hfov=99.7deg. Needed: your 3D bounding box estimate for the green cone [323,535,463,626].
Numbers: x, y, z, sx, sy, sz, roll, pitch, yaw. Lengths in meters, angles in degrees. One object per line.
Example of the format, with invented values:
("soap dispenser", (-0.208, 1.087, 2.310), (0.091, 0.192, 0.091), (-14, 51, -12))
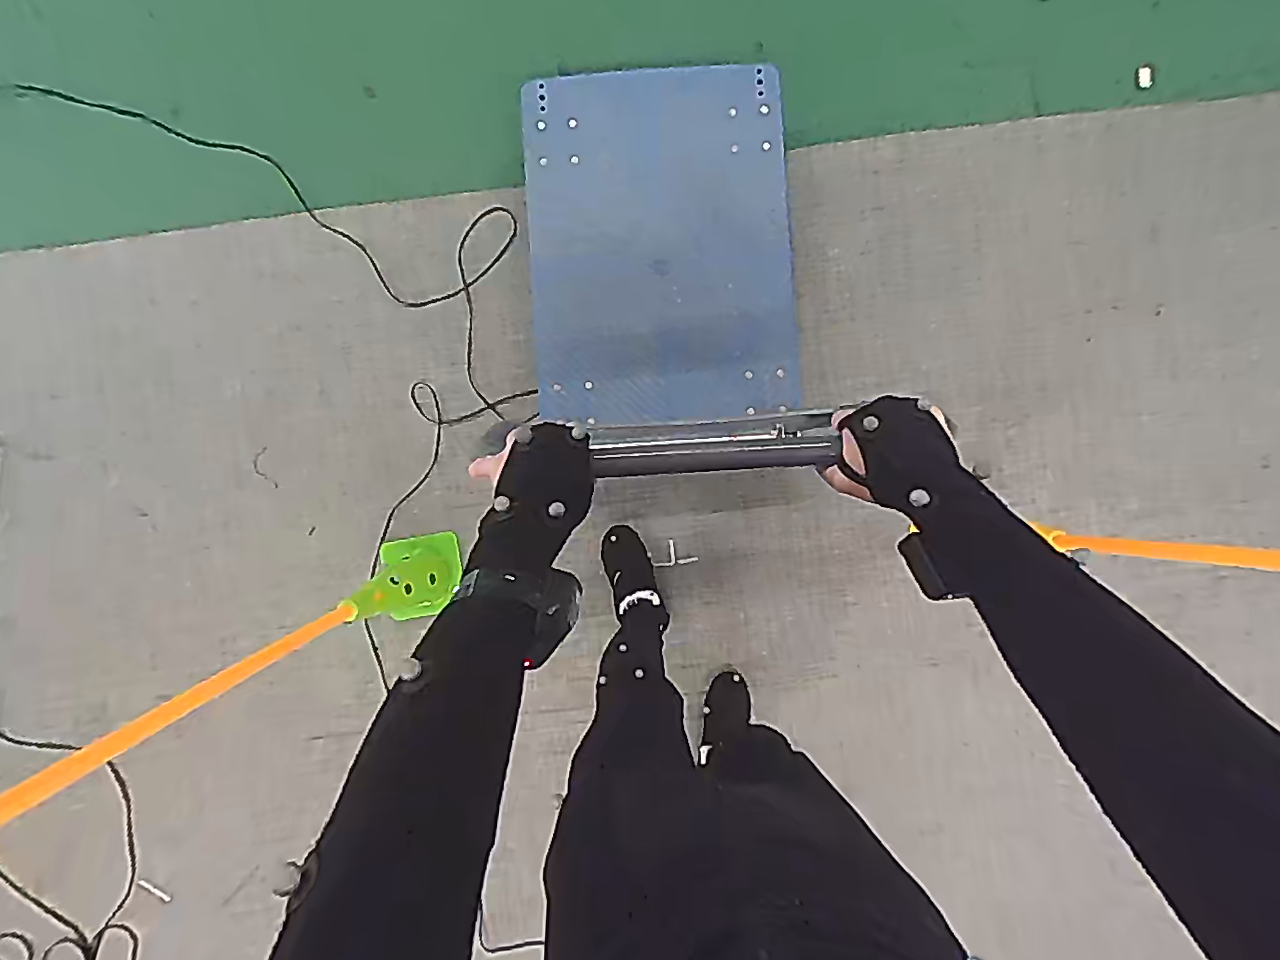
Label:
("green cone", (-0.556, 0.246, 1.177), (0.202, 0.368, 0.200), (-11, 89, 2))
